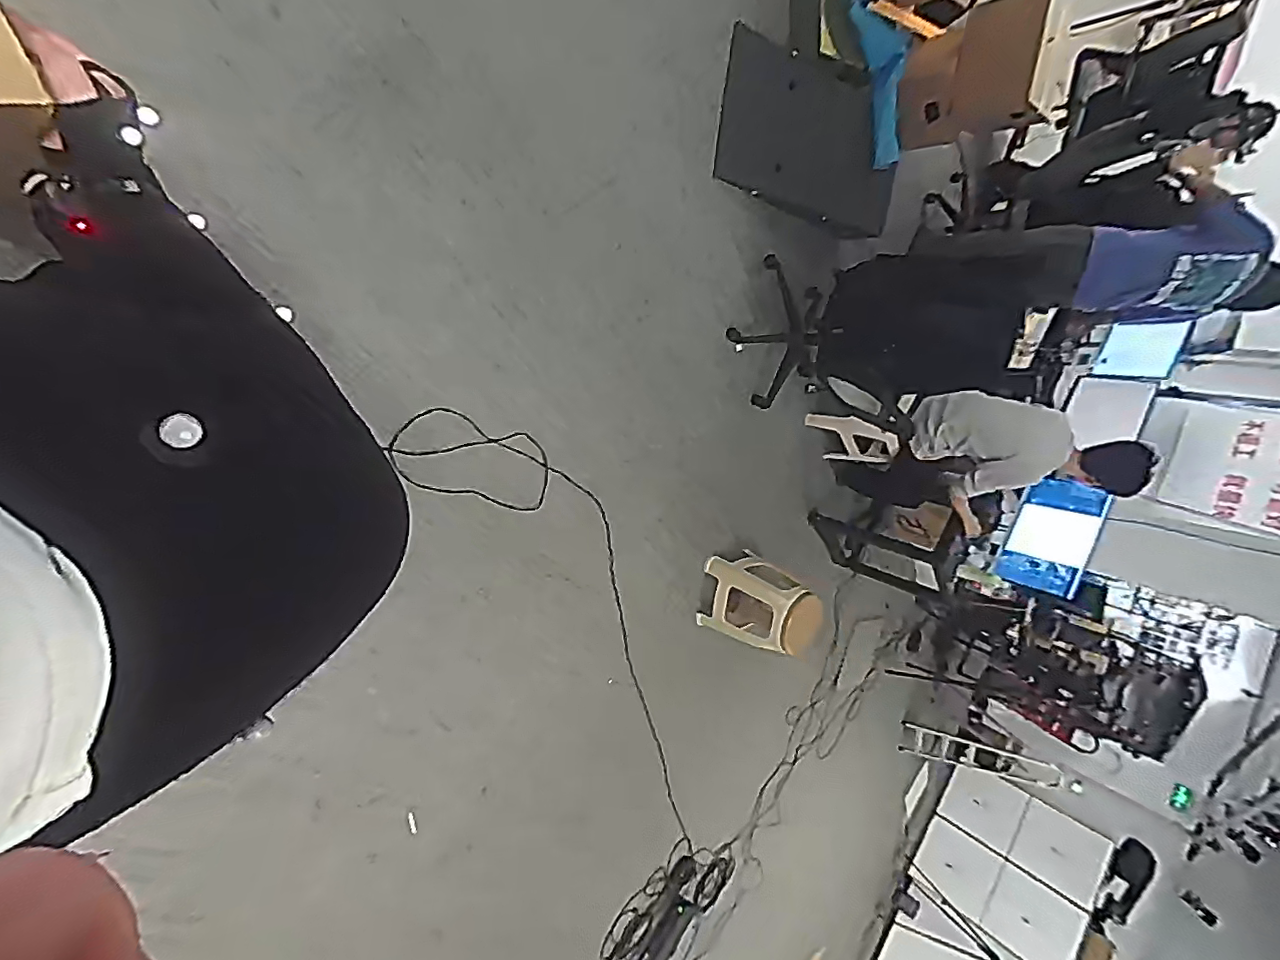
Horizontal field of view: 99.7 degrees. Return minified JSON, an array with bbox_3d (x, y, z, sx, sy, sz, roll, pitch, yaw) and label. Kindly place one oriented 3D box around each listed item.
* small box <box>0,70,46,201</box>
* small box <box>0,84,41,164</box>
[{"bbox_3d":[-1.031,-0.539,0.793,0.179,0.176,0.168,20,88,-44],"label":"small box"},{"bbox_3d":[-0.929,-0.496,0.684,0.168,0.176,0.179,-45,129,-26],"label":"small box"}]
